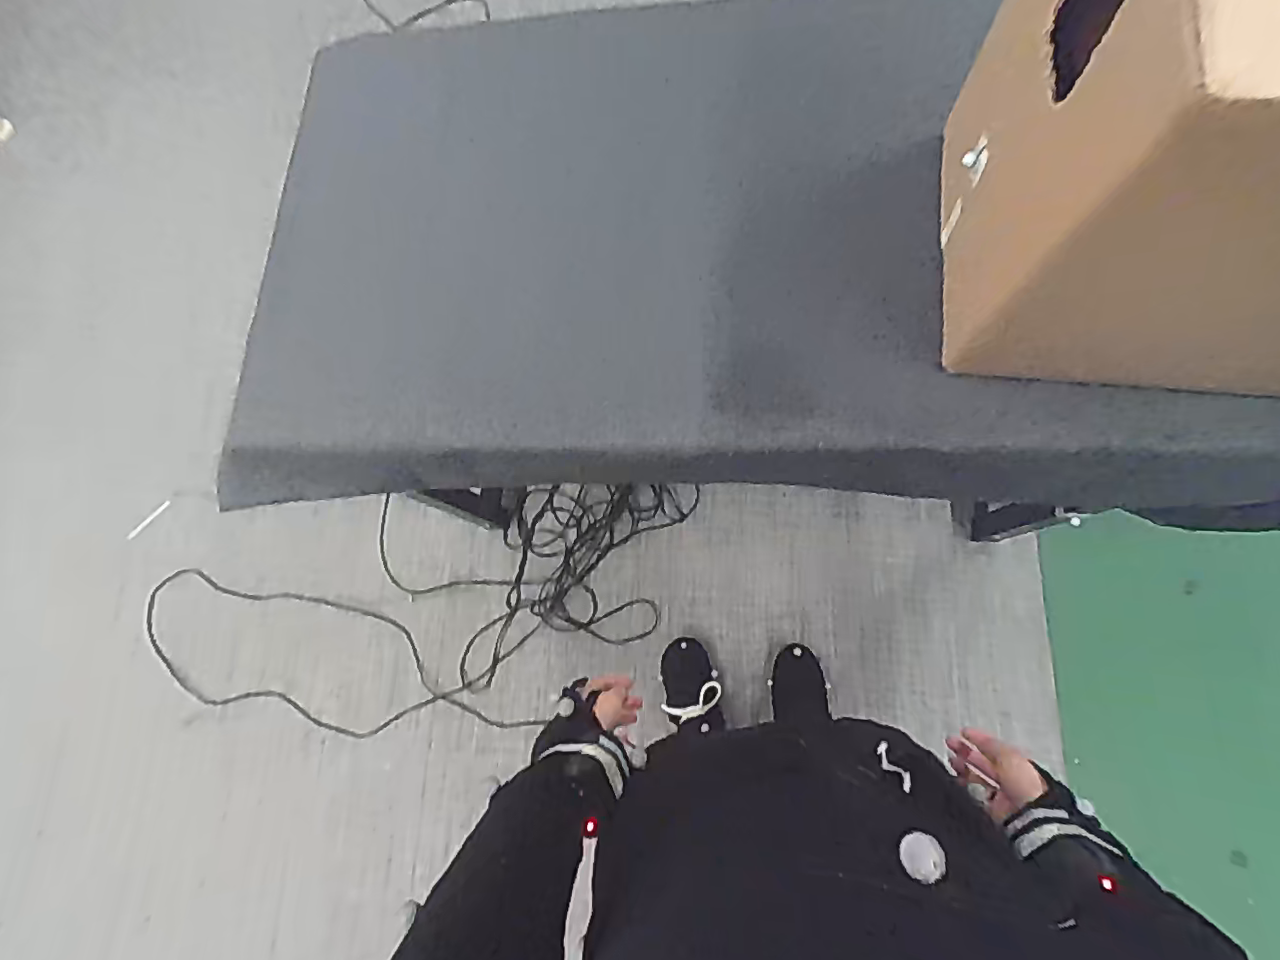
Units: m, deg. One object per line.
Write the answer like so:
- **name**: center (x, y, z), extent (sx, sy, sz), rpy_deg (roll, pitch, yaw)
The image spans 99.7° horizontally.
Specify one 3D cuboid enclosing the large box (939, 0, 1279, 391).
- **large box**: center (0.508, -0.277, 0.424), extent (0.408, 0.320, 0.320), rpy_deg (6, 77, 8)
